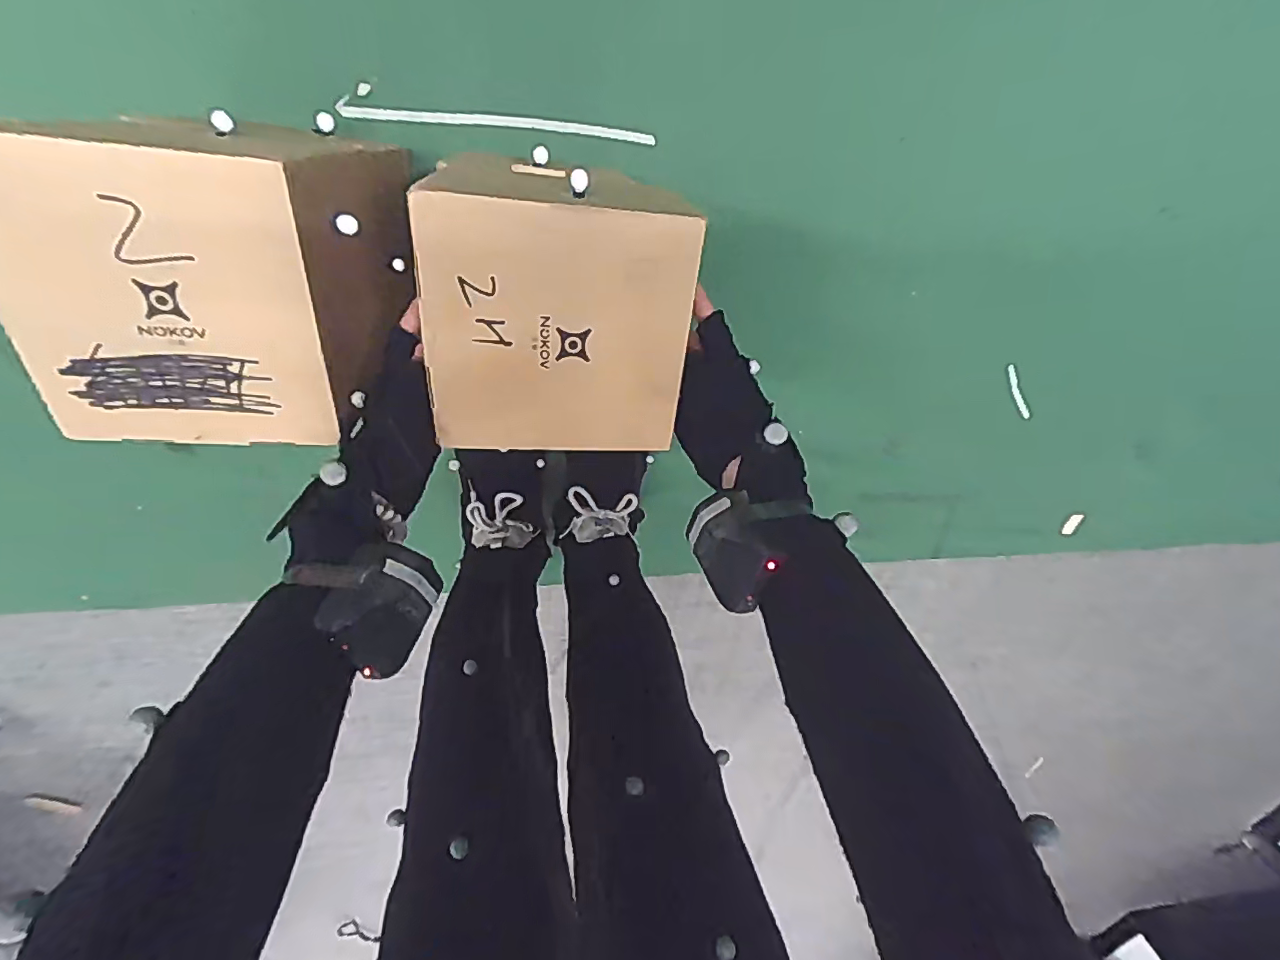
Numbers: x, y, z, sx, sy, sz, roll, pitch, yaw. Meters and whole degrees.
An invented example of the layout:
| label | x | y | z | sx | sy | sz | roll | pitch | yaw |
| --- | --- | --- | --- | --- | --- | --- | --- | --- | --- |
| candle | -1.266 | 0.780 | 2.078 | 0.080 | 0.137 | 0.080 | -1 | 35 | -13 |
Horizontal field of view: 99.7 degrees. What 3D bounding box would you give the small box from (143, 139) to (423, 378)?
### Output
| label | x | y | z | sx | sy | sz | roll | pitch | yaw |
| --- | --- | --- | --- | --- | --- | --- | --- | --- | --- |
| small box | -0.317 | -0.219 | 0.531 | 0.168 | 0.176 | 0.179 | 2 | 123 | -12 |
